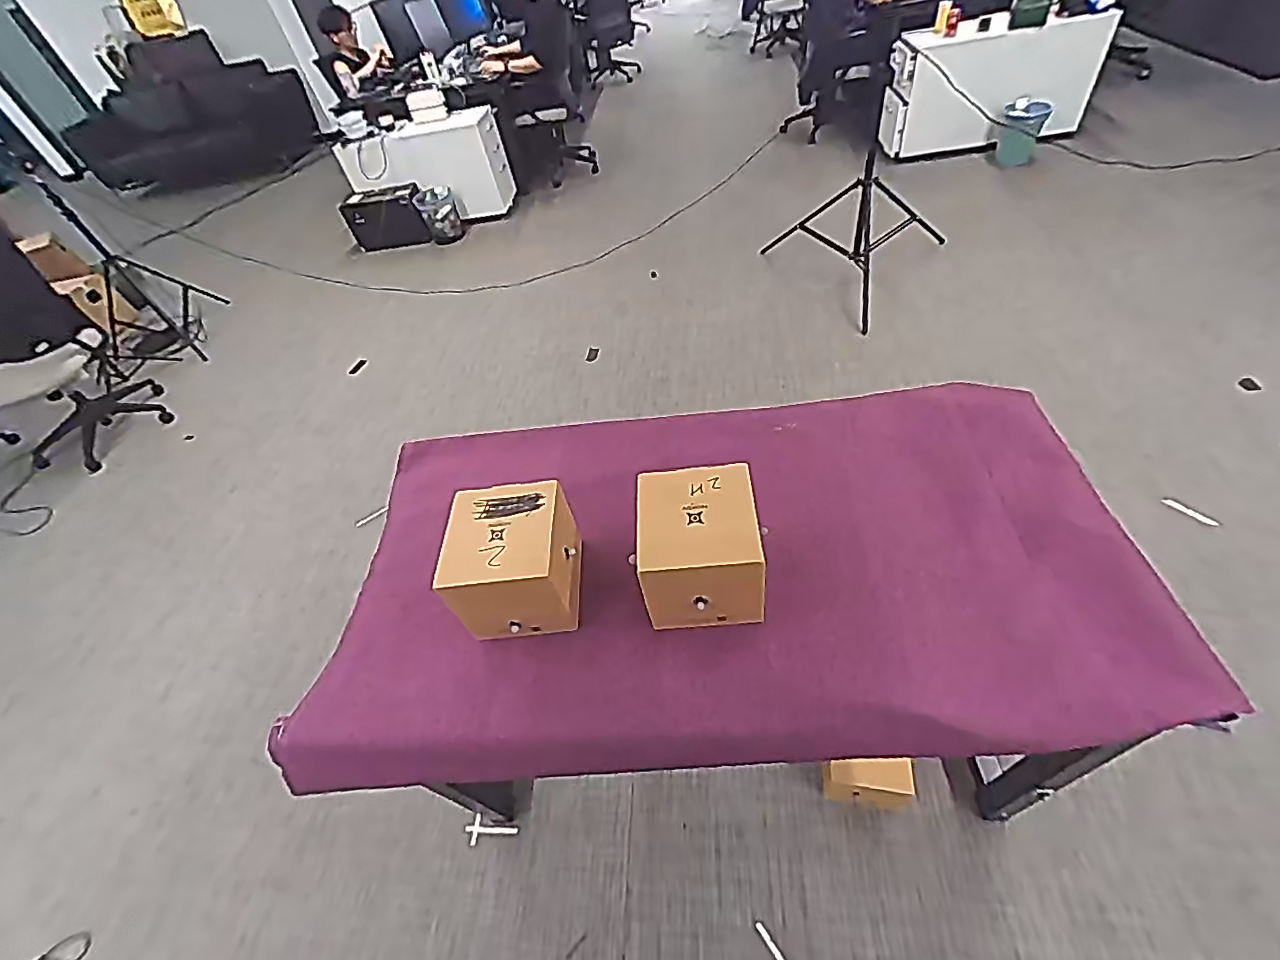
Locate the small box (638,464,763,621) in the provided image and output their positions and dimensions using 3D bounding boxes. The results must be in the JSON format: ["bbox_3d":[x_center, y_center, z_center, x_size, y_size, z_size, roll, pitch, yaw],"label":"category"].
[{"bbox_3d":[0.092,0.101,0.812,0.168,0.176,0.179,-5,48,6],"label":"small box"}]

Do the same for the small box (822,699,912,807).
[{"bbox_3d":[0.514,0.629,1.242,0.168,0.176,0.179,2,49,14],"label":"small box"}]
